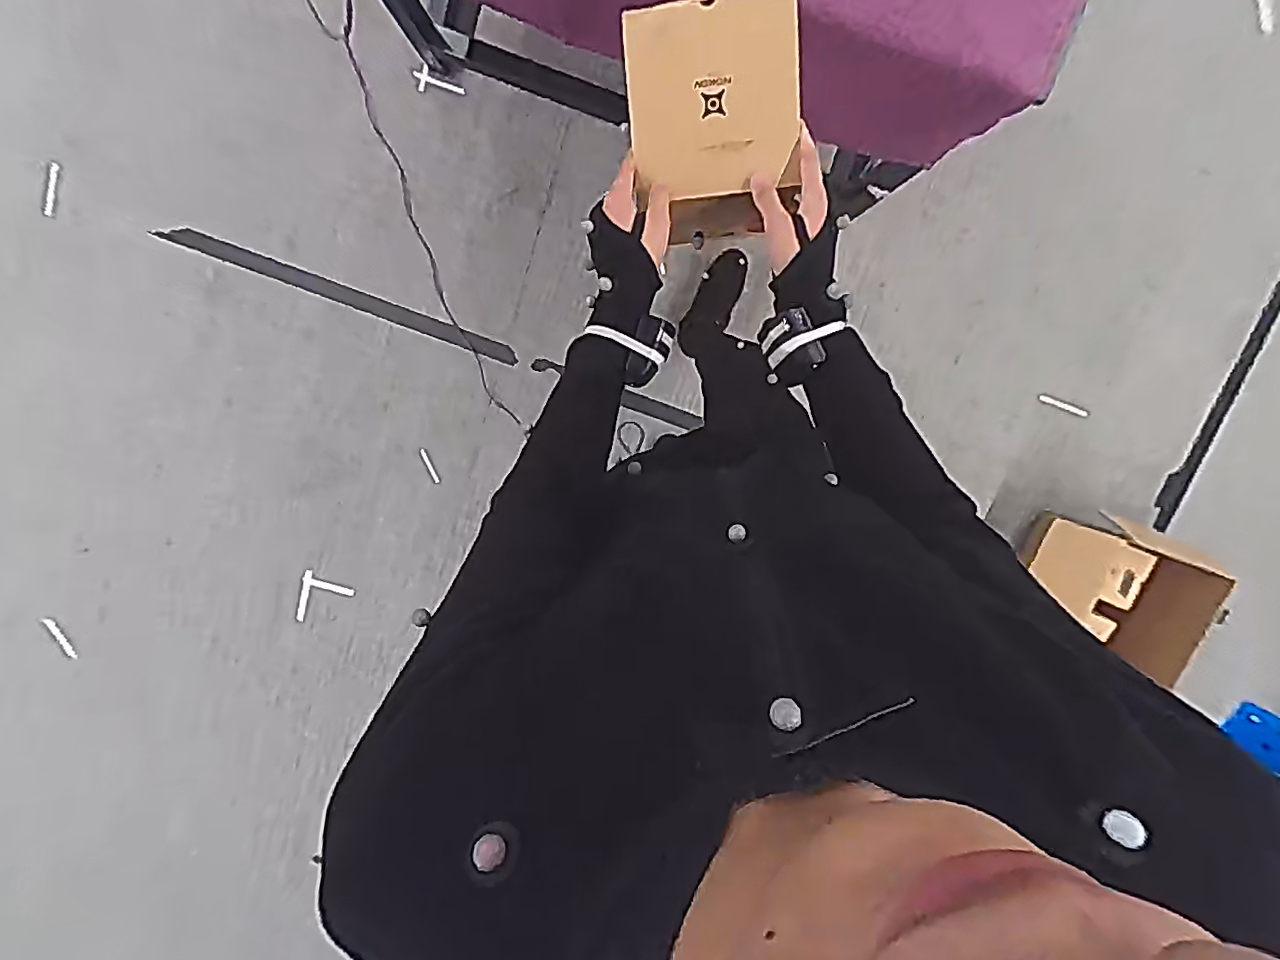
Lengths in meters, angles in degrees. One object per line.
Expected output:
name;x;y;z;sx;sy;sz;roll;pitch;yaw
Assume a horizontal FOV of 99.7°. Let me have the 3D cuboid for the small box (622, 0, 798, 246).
small box;0.074;-0.382;0.603;0.168;0.176;0.179;-4;98;6
